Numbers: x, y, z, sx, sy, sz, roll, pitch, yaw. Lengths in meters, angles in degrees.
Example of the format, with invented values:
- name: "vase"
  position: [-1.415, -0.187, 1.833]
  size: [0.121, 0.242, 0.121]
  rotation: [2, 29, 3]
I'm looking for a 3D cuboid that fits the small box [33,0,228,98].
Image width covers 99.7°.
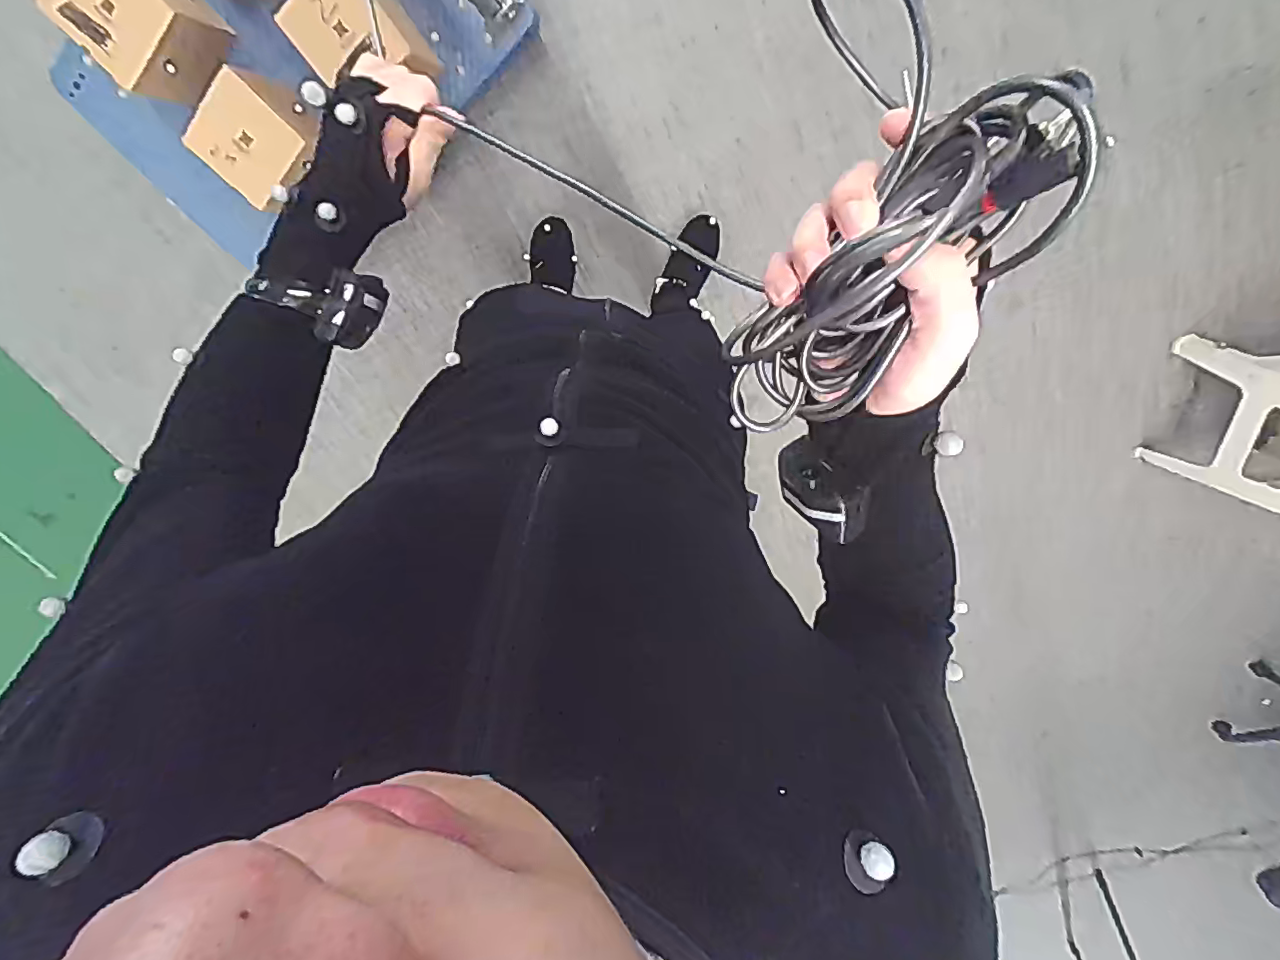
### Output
- name: "small box"
  position: [-0.911, -0.842, 0.986]
  size: [0.179, 0.176, 0.168]
  rotation: [-37, 113, 18]

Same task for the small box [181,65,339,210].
- name: "small box"
  position: [-0.741, -0.672, 1.079]
  size: [0.179, 0.176, 0.168]
  rotation: [-38, 111, 20]
